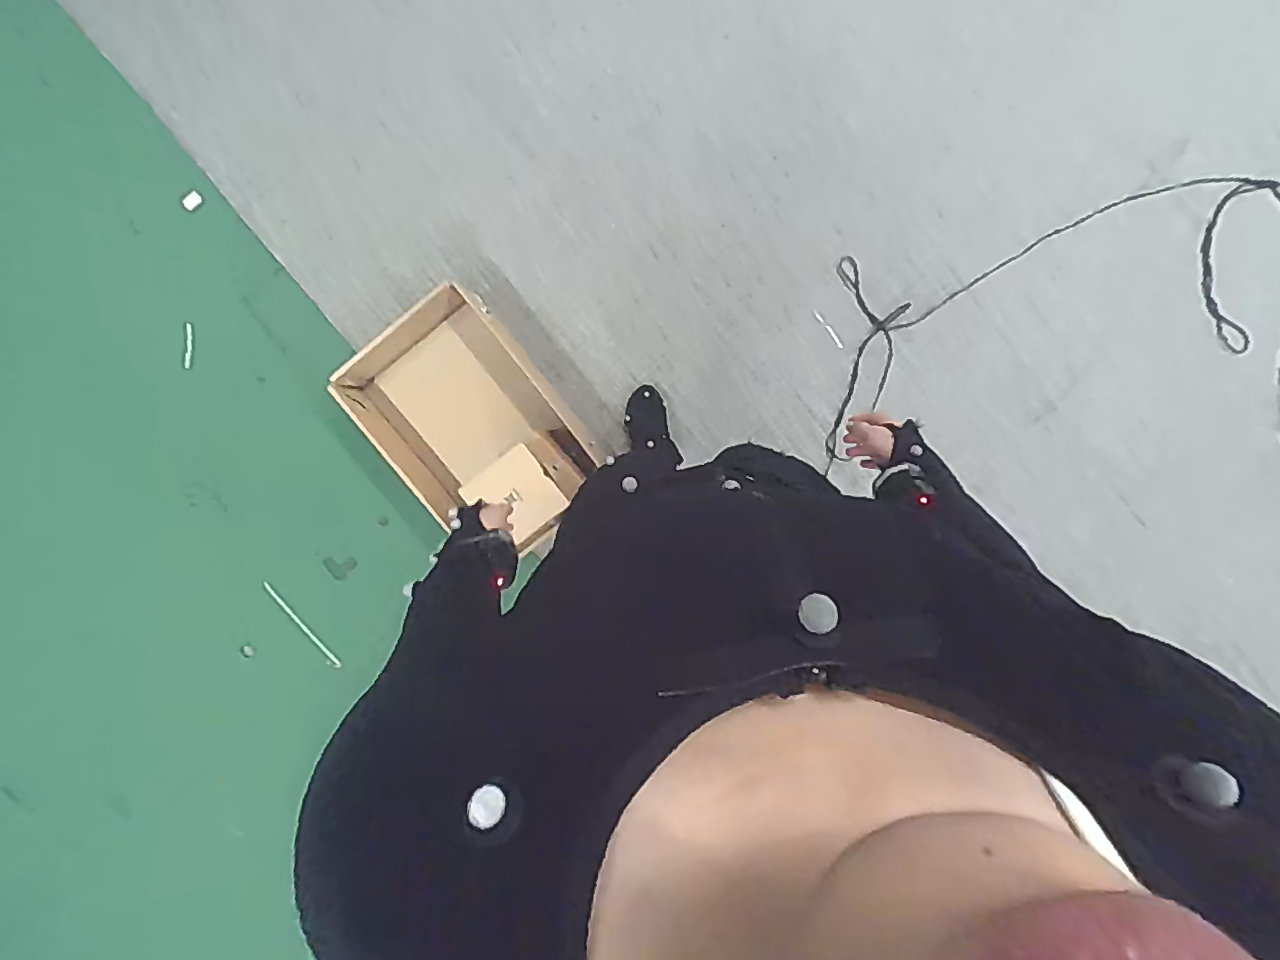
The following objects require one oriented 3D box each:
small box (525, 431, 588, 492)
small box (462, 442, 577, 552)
[{"bbox_3d":[-0.246,-0.005,1.342,0.179,0.176,0.168,-42,94,4],"label":"small box"},{"bbox_3d":[-0.251,0.027,1.181,0.179,0.176,0.168,-36,95,3],"label":"small box"}]
